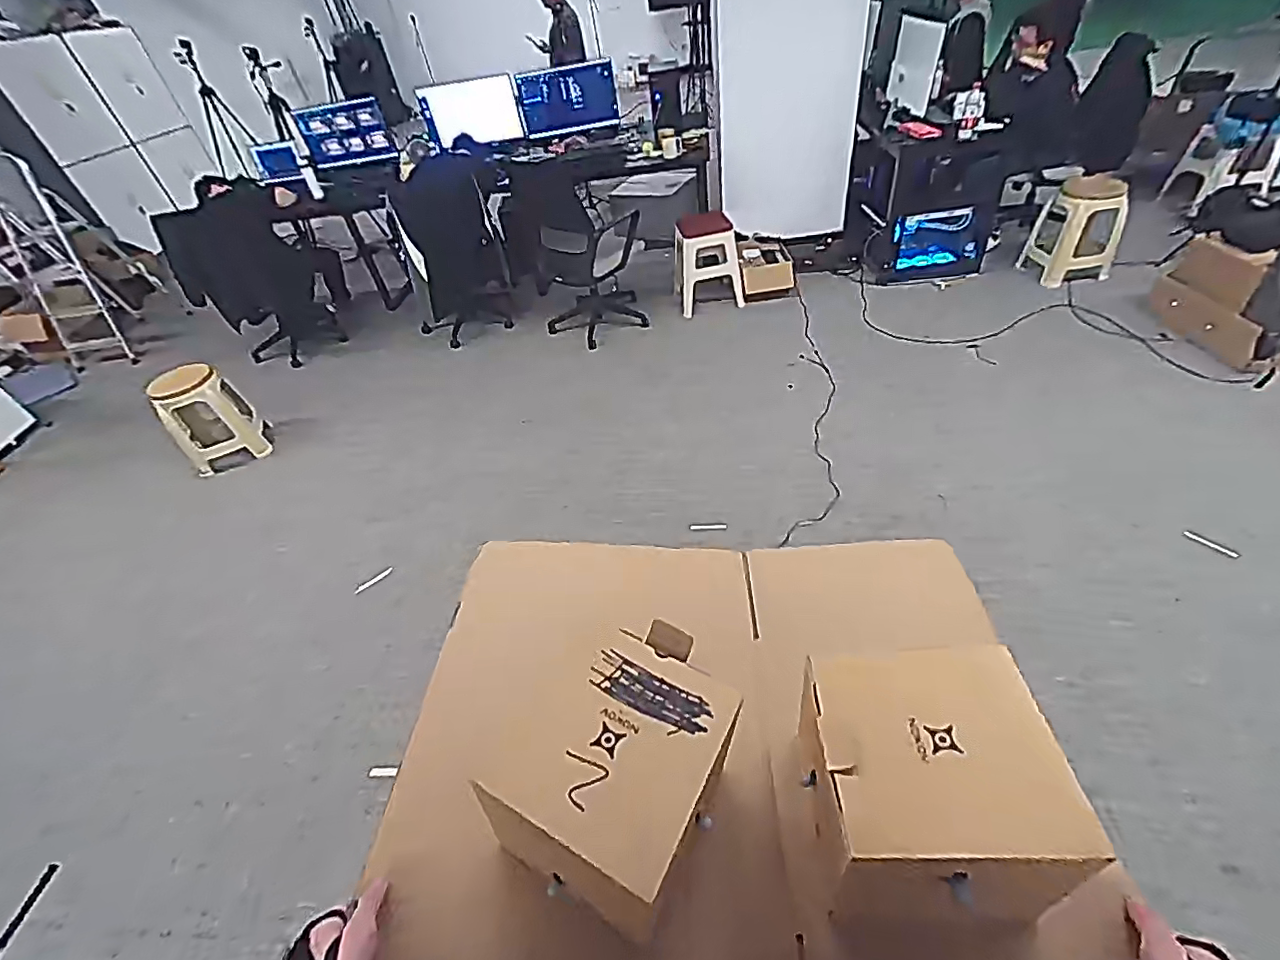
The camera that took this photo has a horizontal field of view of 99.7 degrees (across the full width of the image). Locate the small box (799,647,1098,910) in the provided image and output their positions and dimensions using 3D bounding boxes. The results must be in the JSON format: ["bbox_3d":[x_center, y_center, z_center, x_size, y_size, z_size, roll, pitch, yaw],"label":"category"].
[{"bbox_3d":[0.252,0.273,0.498,0.179,0.176,0.168,-5,40,8],"label":"small box"}]
